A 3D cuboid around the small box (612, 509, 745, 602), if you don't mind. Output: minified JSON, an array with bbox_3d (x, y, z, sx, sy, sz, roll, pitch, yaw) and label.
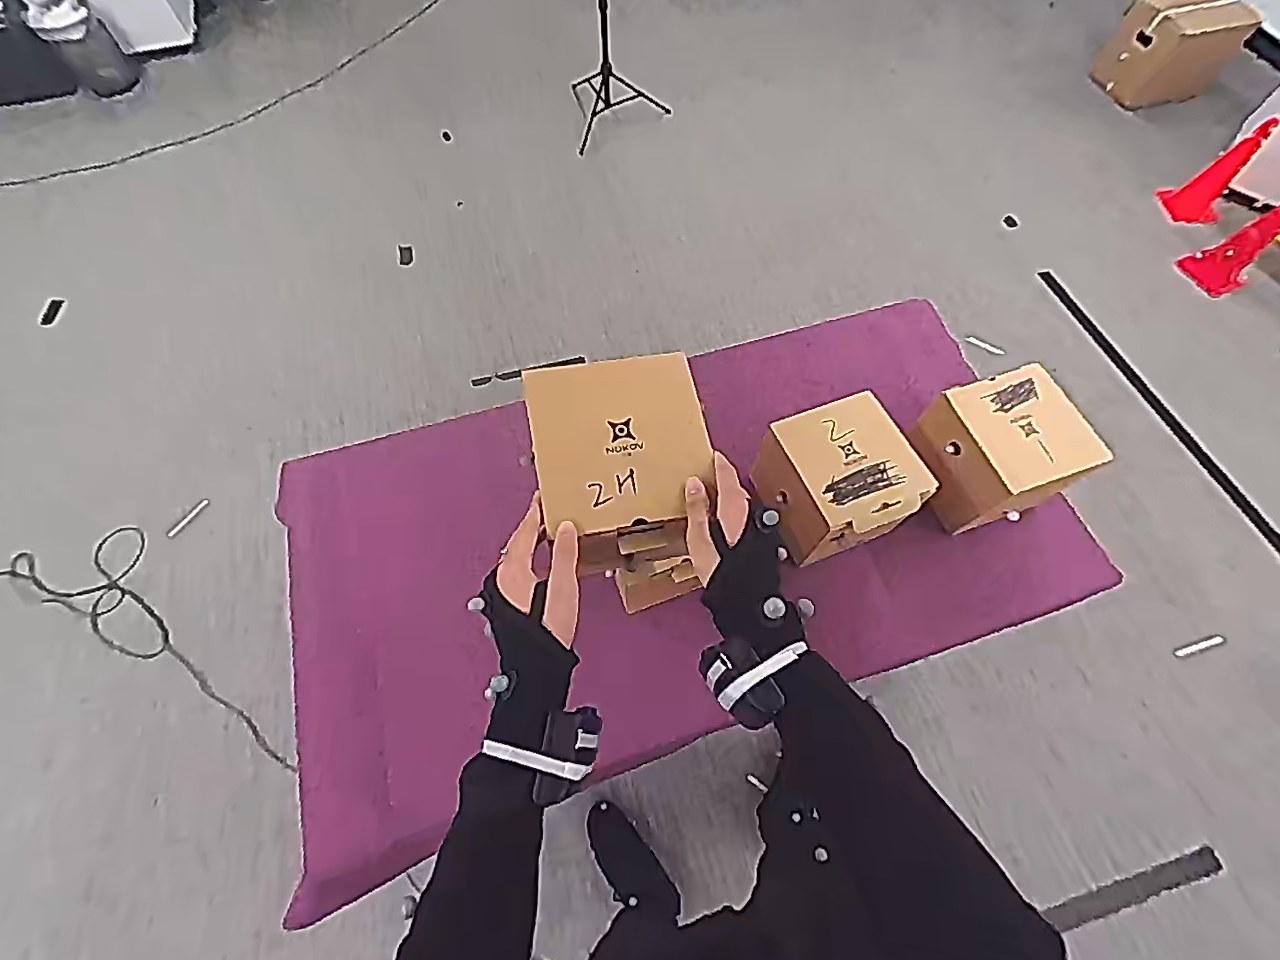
[{"bbox_3d":[0.031,0.064,0.777,0.168,0.176,0.179,-18,66,-9],"label":"small box"}]

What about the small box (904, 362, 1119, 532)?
[{"bbox_3d":[0.543,-0.044,0.824,0.168,0.176,0.179,-17,66,-7],"label":"small box"}]

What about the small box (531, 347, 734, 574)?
[{"bbox_3d":[-0.018,-0.013,0.573,0.168,0.176,0.179,-9,70,-8],"label":"small box"}]
